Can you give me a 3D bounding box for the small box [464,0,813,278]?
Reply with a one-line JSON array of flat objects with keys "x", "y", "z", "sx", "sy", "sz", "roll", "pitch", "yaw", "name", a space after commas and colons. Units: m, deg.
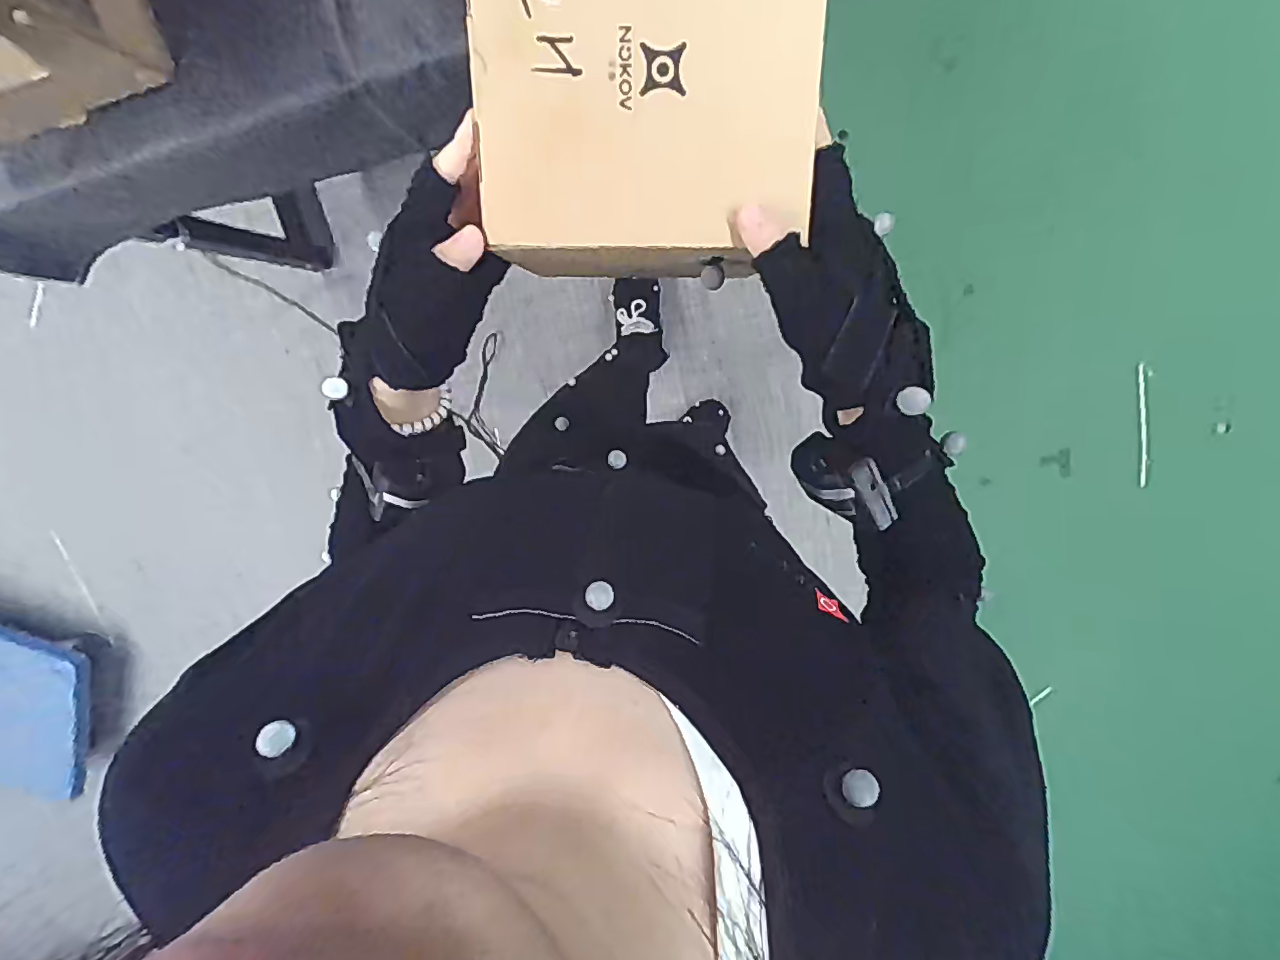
[{"x": -0.003, "y": -0.228, "z": 0.352, "sx": 0.179, "sy": 0.176, "sz": 0.168, "roll": 0, "pitch": 105, "yaw": -1, "name": "small box"}]
